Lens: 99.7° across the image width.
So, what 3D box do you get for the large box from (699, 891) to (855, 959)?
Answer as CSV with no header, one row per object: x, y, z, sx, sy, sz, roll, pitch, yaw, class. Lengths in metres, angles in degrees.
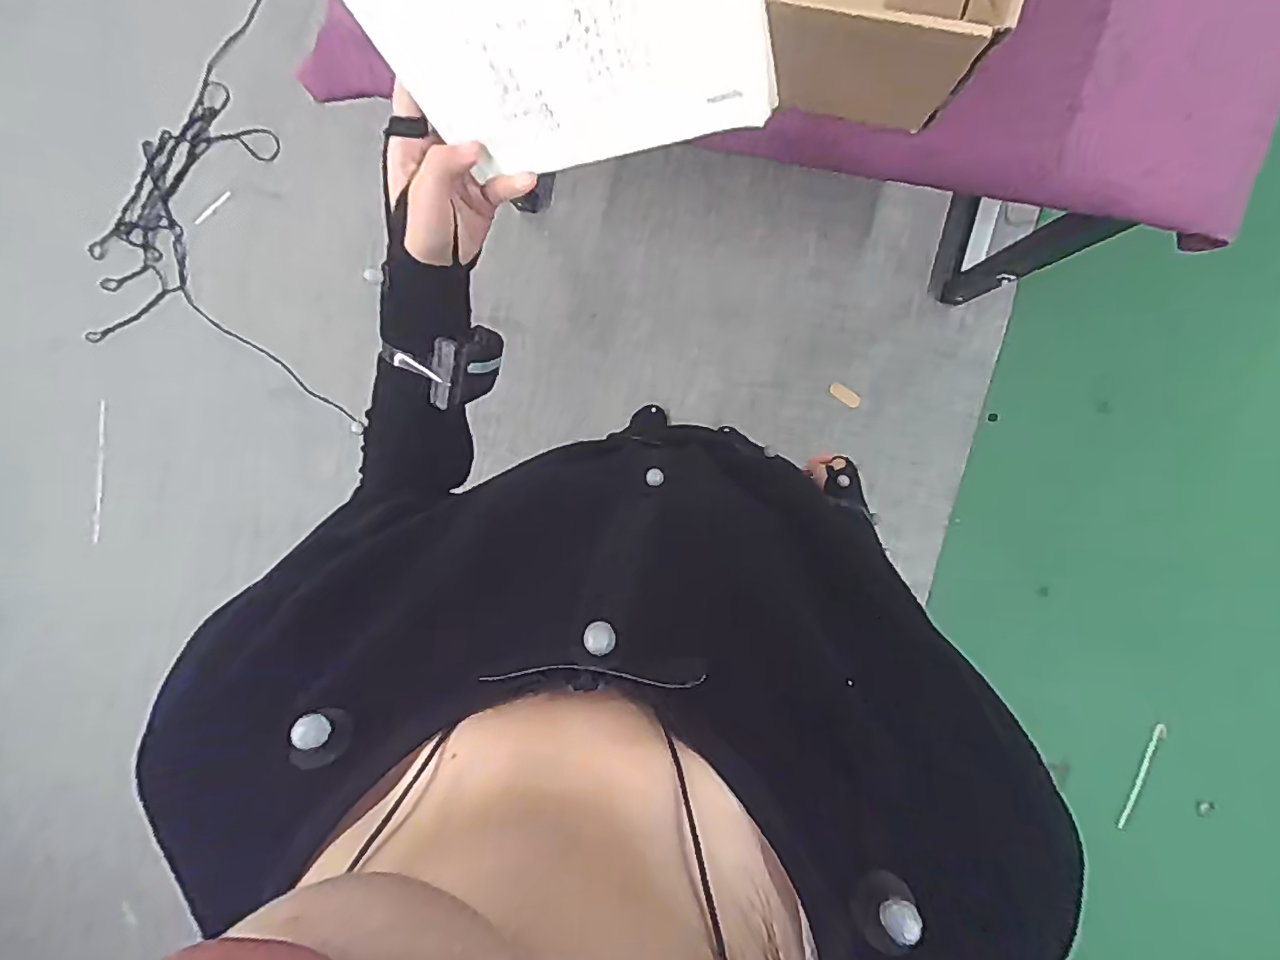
0.371,1.396,1.478,0.408,0.320,0.320,-1,97,6,large box
